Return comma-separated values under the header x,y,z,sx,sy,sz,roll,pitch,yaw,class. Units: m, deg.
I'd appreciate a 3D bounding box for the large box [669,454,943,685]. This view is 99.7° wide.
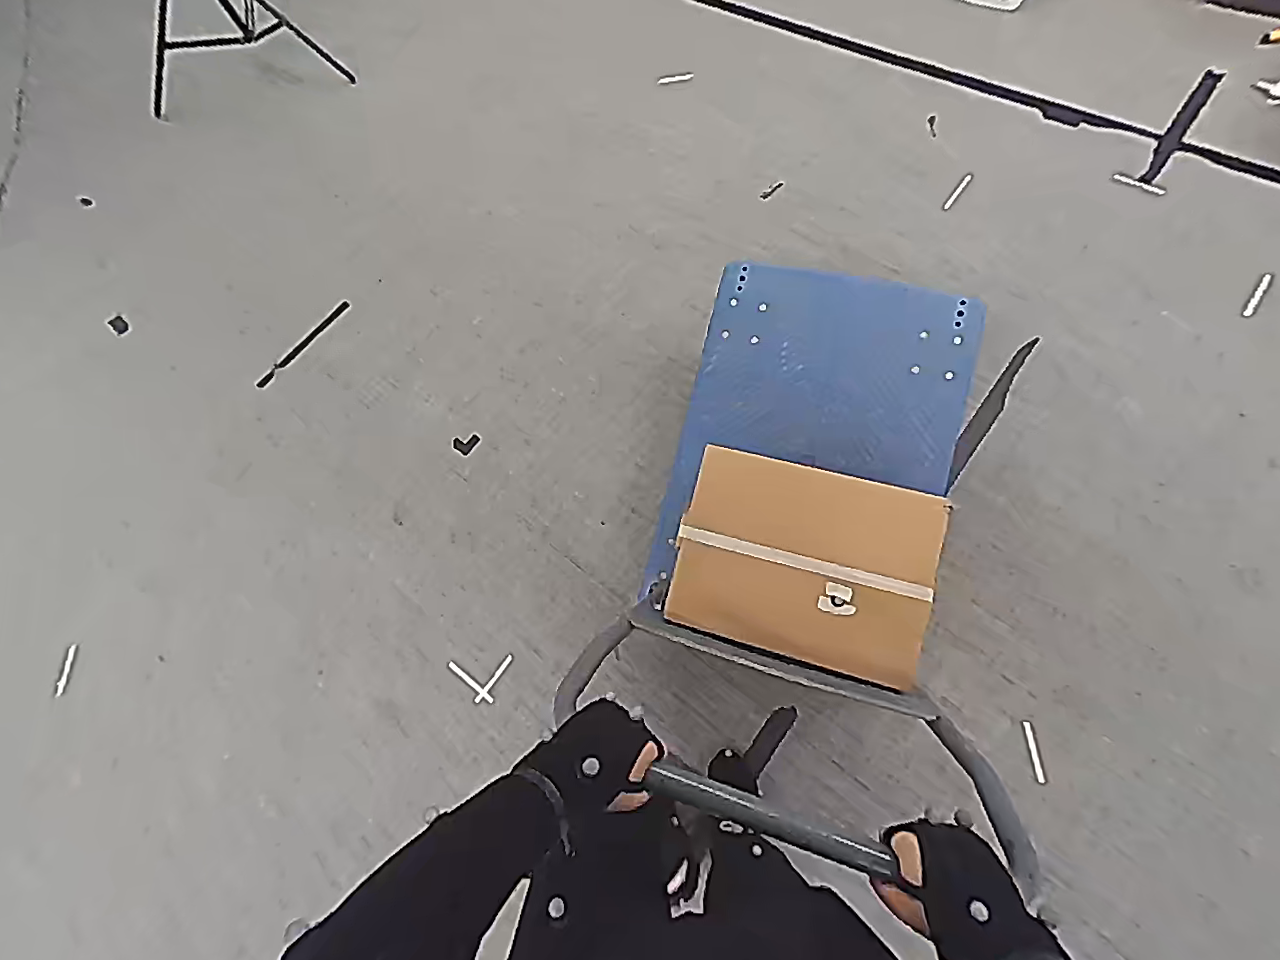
x,y,z,sx,sy,sz,roll,pitch,yaw,class
0.296,0.158,1.054,0.408,0.320,0.320,13,87,12,large box
